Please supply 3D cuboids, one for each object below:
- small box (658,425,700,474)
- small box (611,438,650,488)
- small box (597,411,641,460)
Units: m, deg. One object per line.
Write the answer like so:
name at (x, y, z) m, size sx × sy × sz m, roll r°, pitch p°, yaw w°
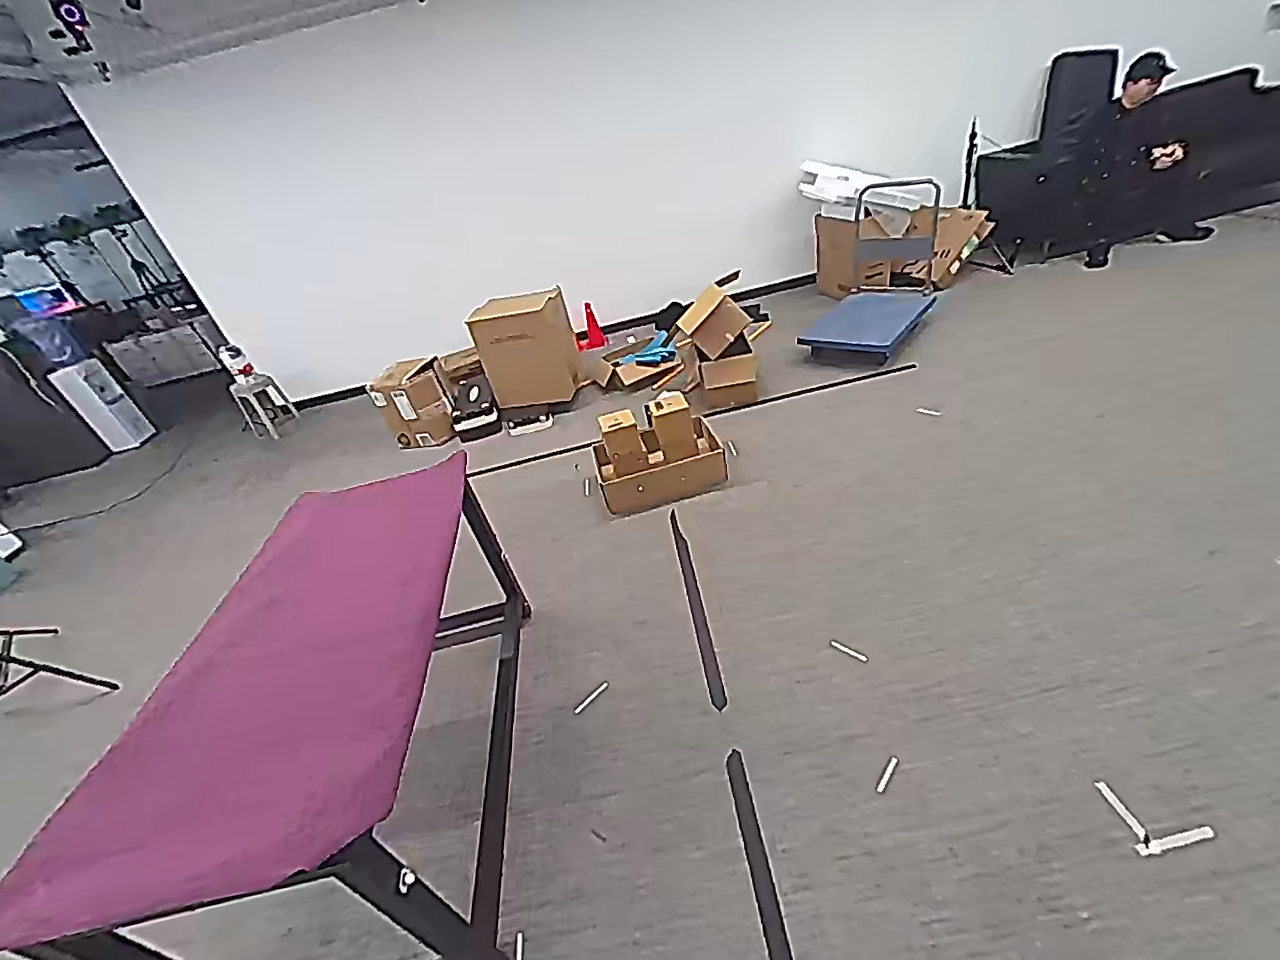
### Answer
small box at (0.198, -0.153, 2.748) m, size 0.168 × 0.176 × 0.179 m, roll -17°, pitch 33°, yaw -2°
small box at (-0.052, -0.084, 2.734) m, size 0.179 × 0.176 × 0.168 m, roll -16°, pitch 32°, yaw -5°
small box at (-0.099, -0.210, 2.638) m, size 0.168 × 0.176 × 0.179 m, roll -16°, pitch 32°, yaw -5°
